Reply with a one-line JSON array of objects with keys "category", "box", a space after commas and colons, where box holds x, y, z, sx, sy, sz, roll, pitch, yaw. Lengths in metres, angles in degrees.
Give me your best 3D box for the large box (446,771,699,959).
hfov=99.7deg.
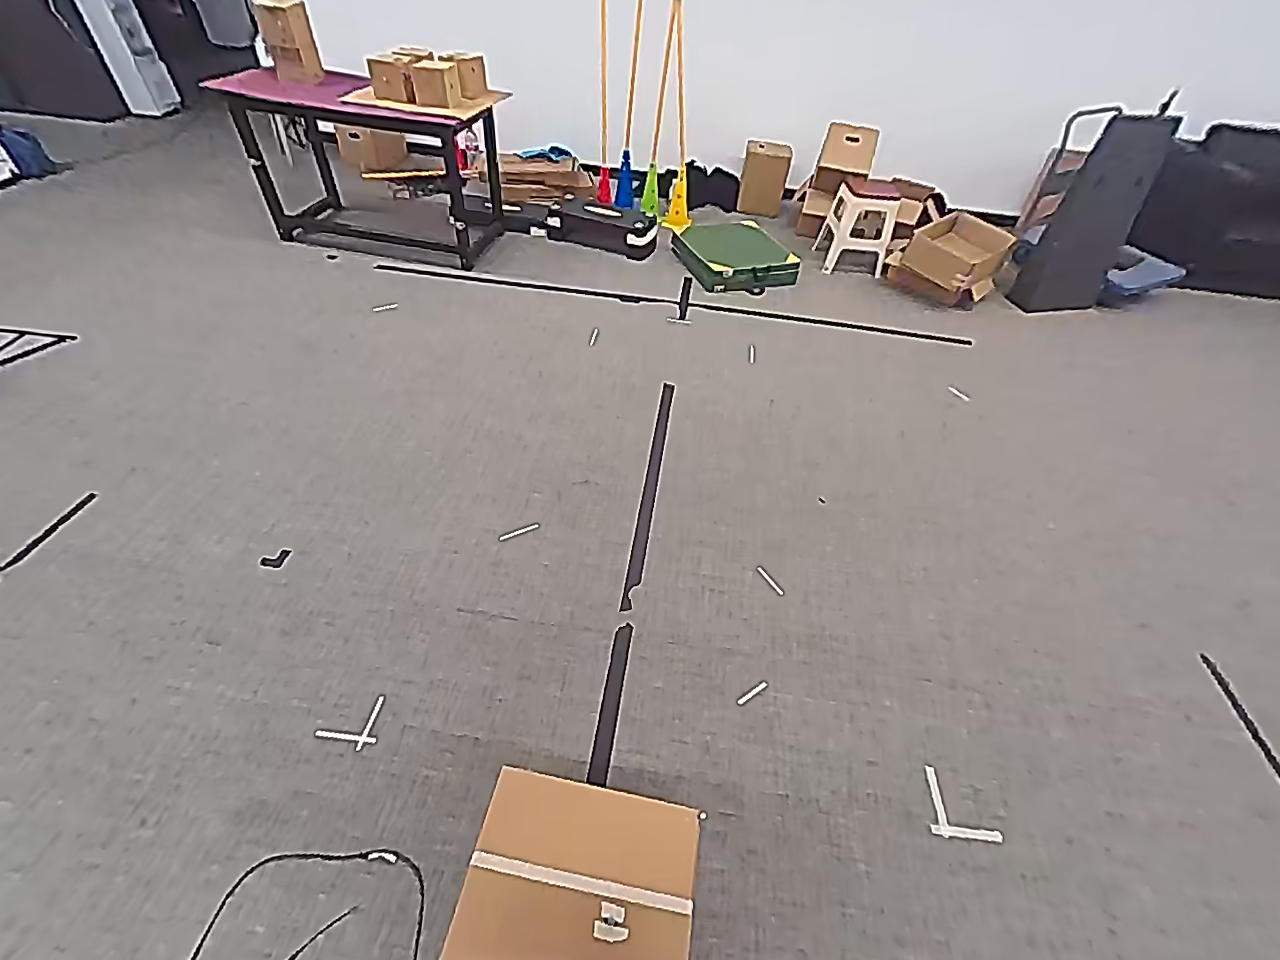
[{"category": "large box", "box": [-0.117, 0.827, 1.076, 0.408, 0.320, 0.320, 11, 46, 3]}]
